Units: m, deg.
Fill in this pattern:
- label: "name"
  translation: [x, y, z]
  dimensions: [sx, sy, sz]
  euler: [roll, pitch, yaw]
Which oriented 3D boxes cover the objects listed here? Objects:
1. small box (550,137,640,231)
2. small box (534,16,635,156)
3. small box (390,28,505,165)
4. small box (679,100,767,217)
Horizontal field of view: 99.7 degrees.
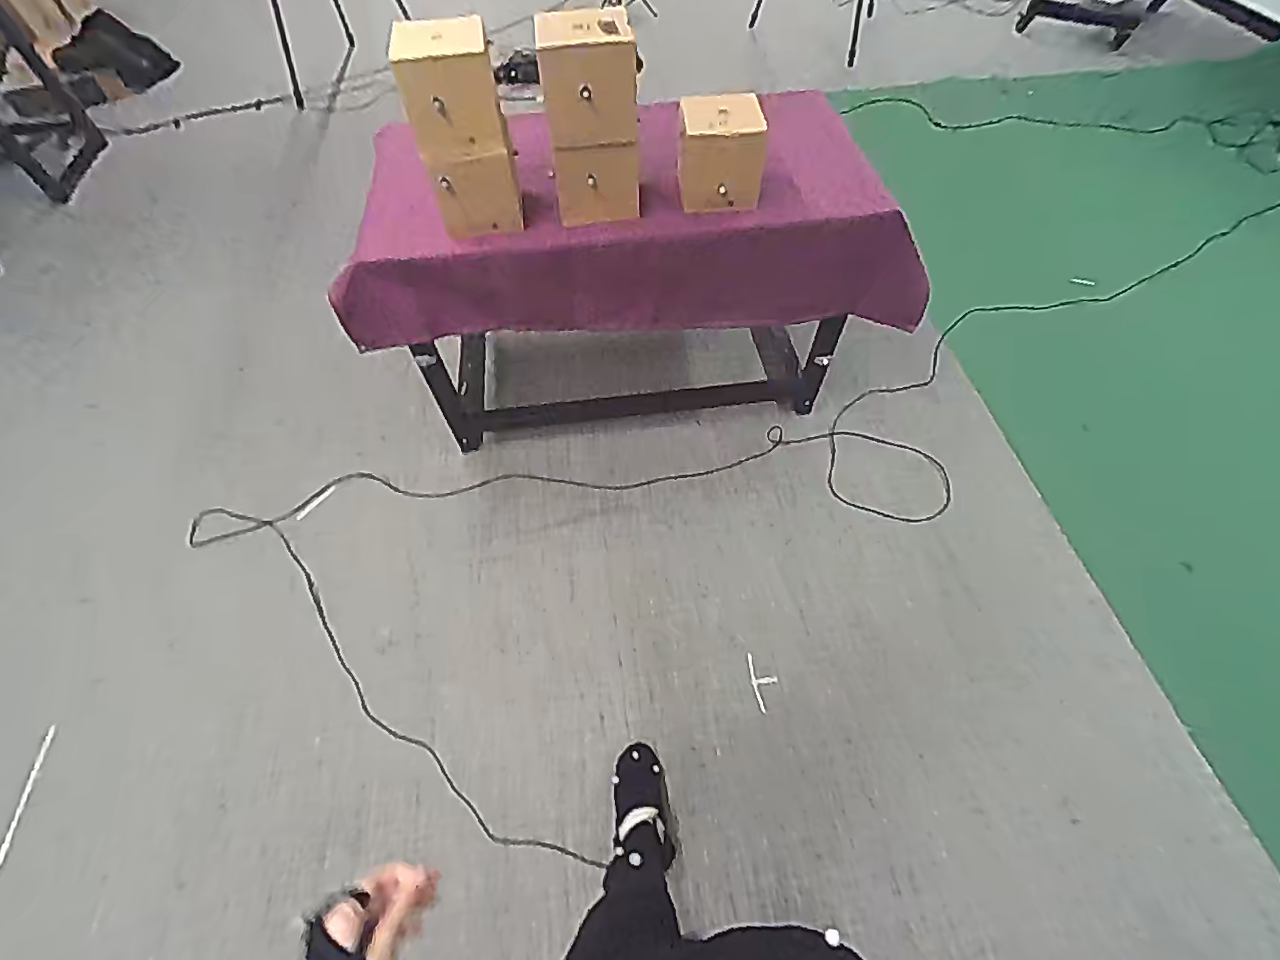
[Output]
- label: "small box"
  translation: [-0.099, -0.672, 1.188]
  dimensions: [0.179, 0.176, 0.168]
  euler: [-8, 57, -3]
- label: "small box"
  translation: [-0.103, -0.758, 1.048]
  dimensions: [0.179, 0.176, 0.168]
  euler: [-7, 56, -2]
- label: "small box"
  translation: [-0.363, -0.732, 1.044]
  dimensions: [0.168, 0.176, 0.179]
  euler: [-11, 56, -5]
- label: "small box"
  translation: [0.175, -0.711, 1.200]
  dimensions: [0.168, 0.176, 0.179]
  euler: [-3, 56, 1]
